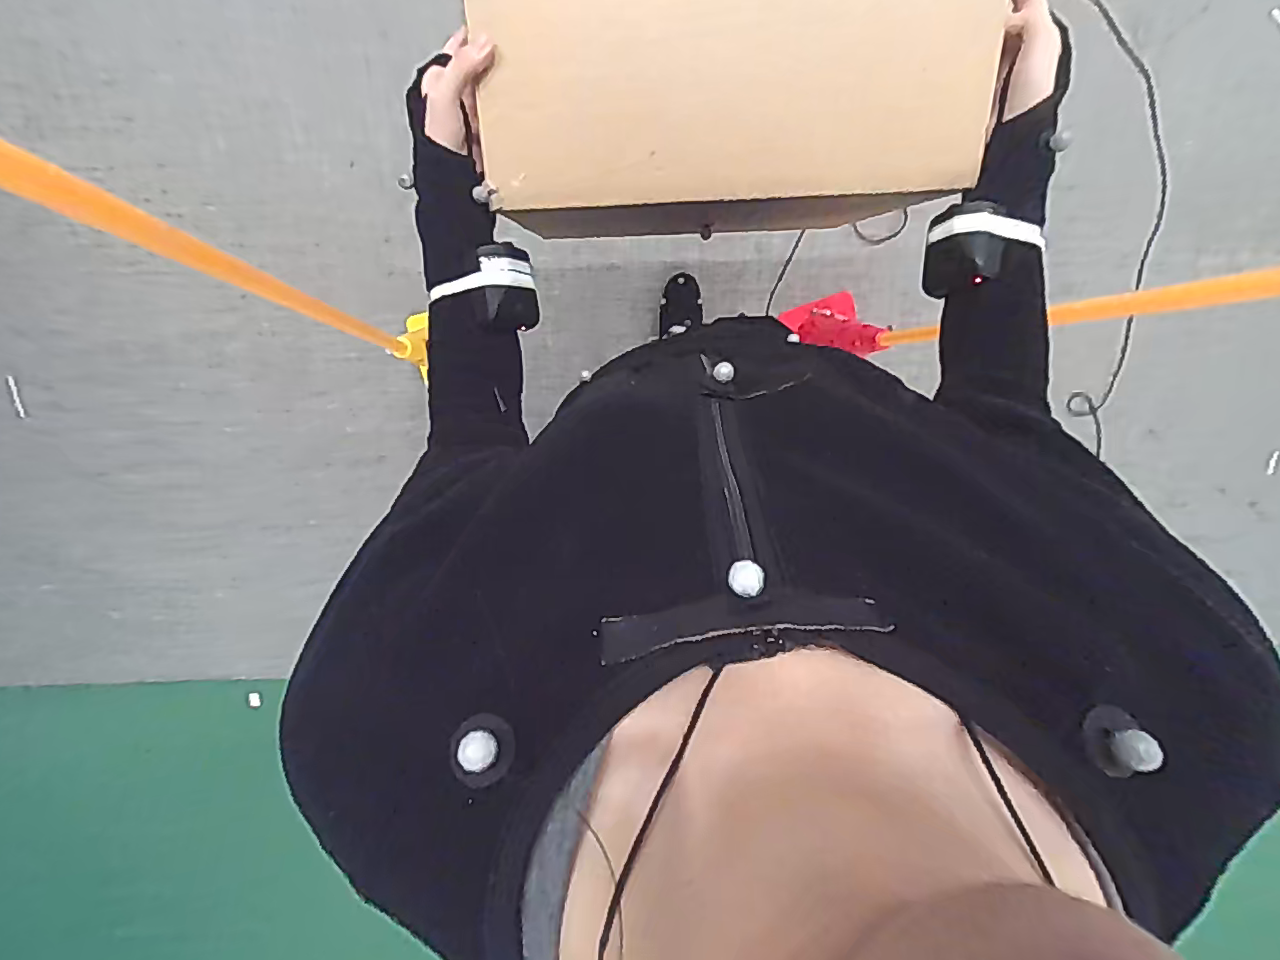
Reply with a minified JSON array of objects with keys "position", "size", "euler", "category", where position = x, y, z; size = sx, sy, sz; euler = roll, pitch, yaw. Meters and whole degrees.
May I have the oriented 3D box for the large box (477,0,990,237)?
[{"position":[0.071,-0.437,0.548],"size":[0.408,0.320,0.320],"euler":[-3,109,1],"category":"large box"}]
